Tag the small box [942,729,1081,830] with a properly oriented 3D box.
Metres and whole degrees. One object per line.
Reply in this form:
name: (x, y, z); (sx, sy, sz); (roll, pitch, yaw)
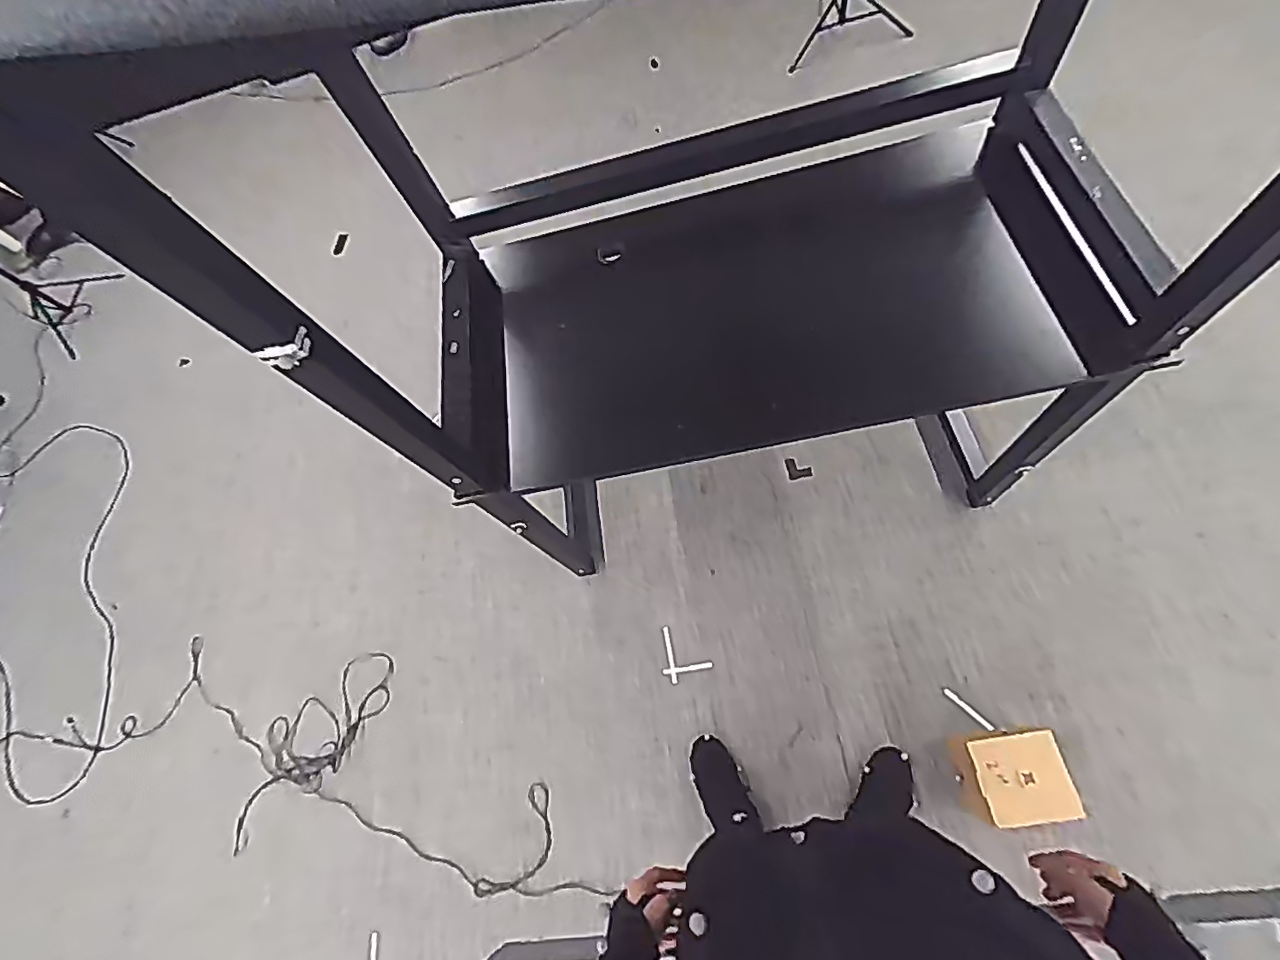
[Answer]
small box: (0.808, 0.655, 1.198); (0.179, 0.176, 0.168); (-12, 66, 8)
